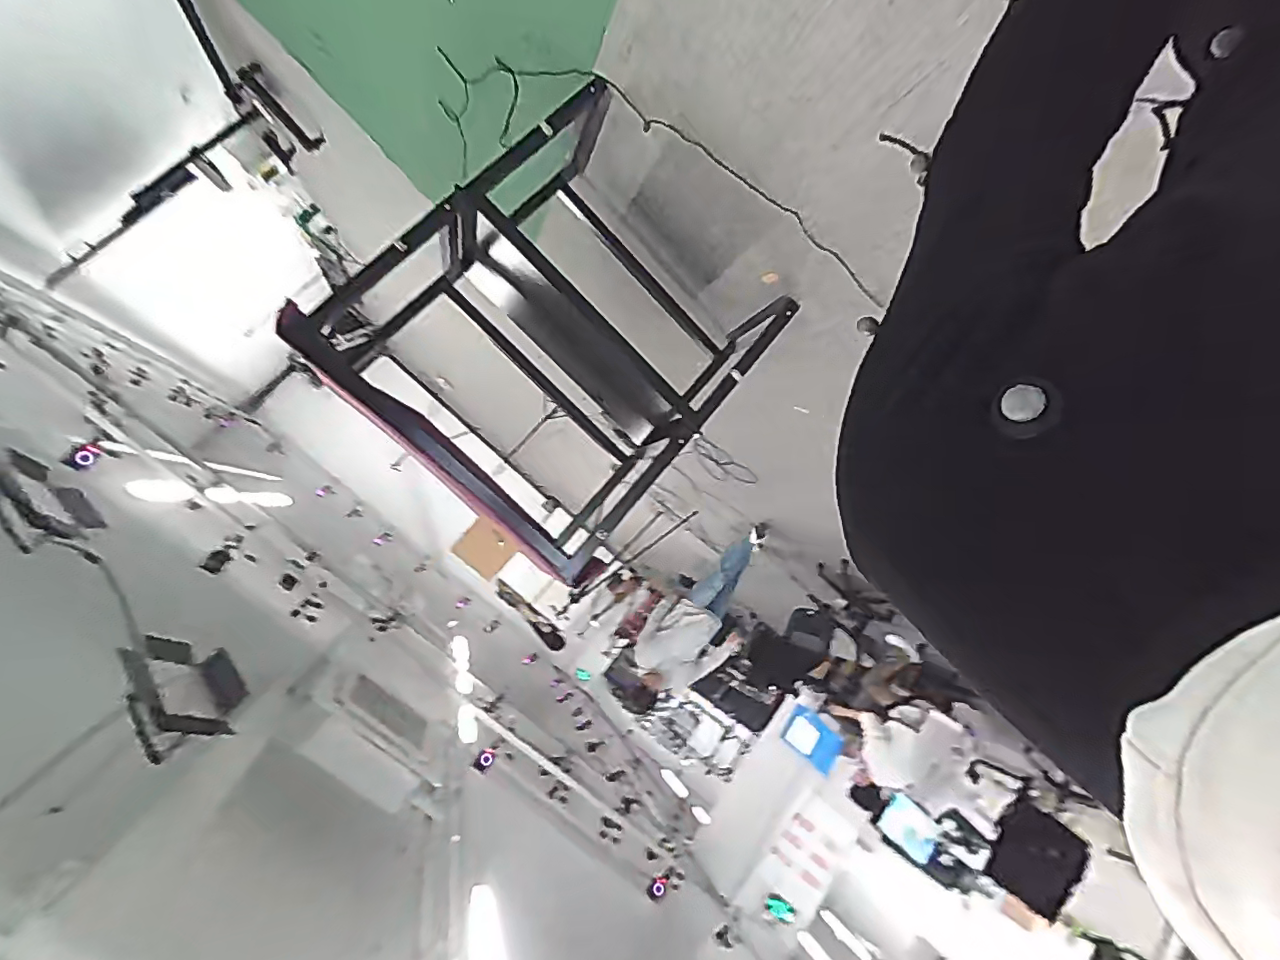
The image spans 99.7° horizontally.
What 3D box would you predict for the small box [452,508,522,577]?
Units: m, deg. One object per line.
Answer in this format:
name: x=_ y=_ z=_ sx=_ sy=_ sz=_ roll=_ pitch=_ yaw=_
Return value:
small box: x=-0.536 y=0.213 z=1.898 sx=0.168 sy=0.176 sz=0.179 roll=44 pitch=165 yaw=-16
